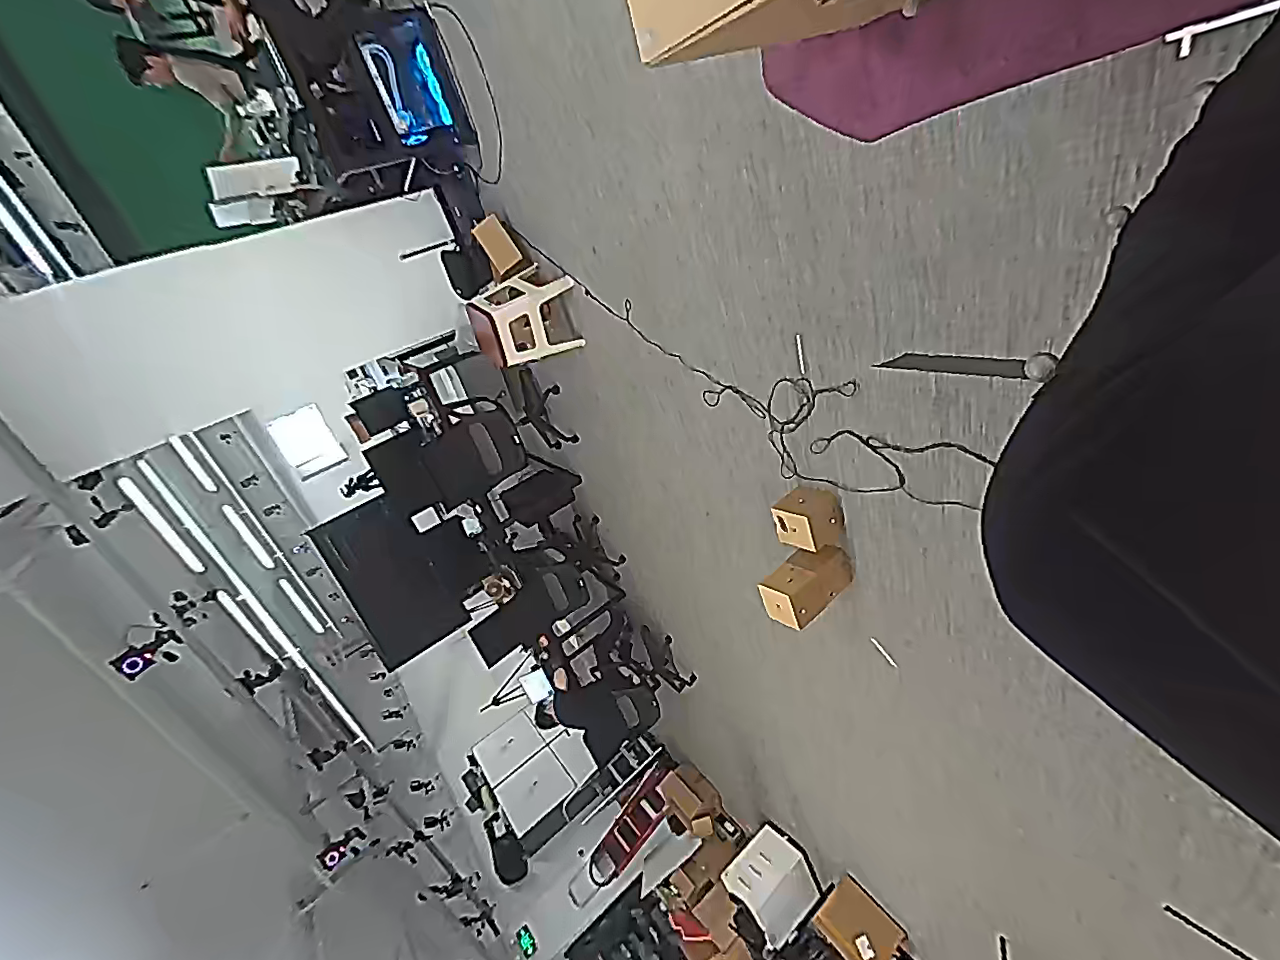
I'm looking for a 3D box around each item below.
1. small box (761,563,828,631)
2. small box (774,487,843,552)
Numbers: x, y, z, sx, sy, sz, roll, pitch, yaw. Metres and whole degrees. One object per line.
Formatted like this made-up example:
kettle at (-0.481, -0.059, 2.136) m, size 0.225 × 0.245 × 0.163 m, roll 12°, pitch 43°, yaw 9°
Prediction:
small box at (0.610, 0.453, 2.130) m, size 0.168 × 0.176 × 0.179 m, roll 13°, pitch 131°, yaw 57°
small box at (0.650, 0.145, 2.080) m, size 0.179 × 0.176 × 0.168 m, roll 16°, pitch 134°, yaw 54°
